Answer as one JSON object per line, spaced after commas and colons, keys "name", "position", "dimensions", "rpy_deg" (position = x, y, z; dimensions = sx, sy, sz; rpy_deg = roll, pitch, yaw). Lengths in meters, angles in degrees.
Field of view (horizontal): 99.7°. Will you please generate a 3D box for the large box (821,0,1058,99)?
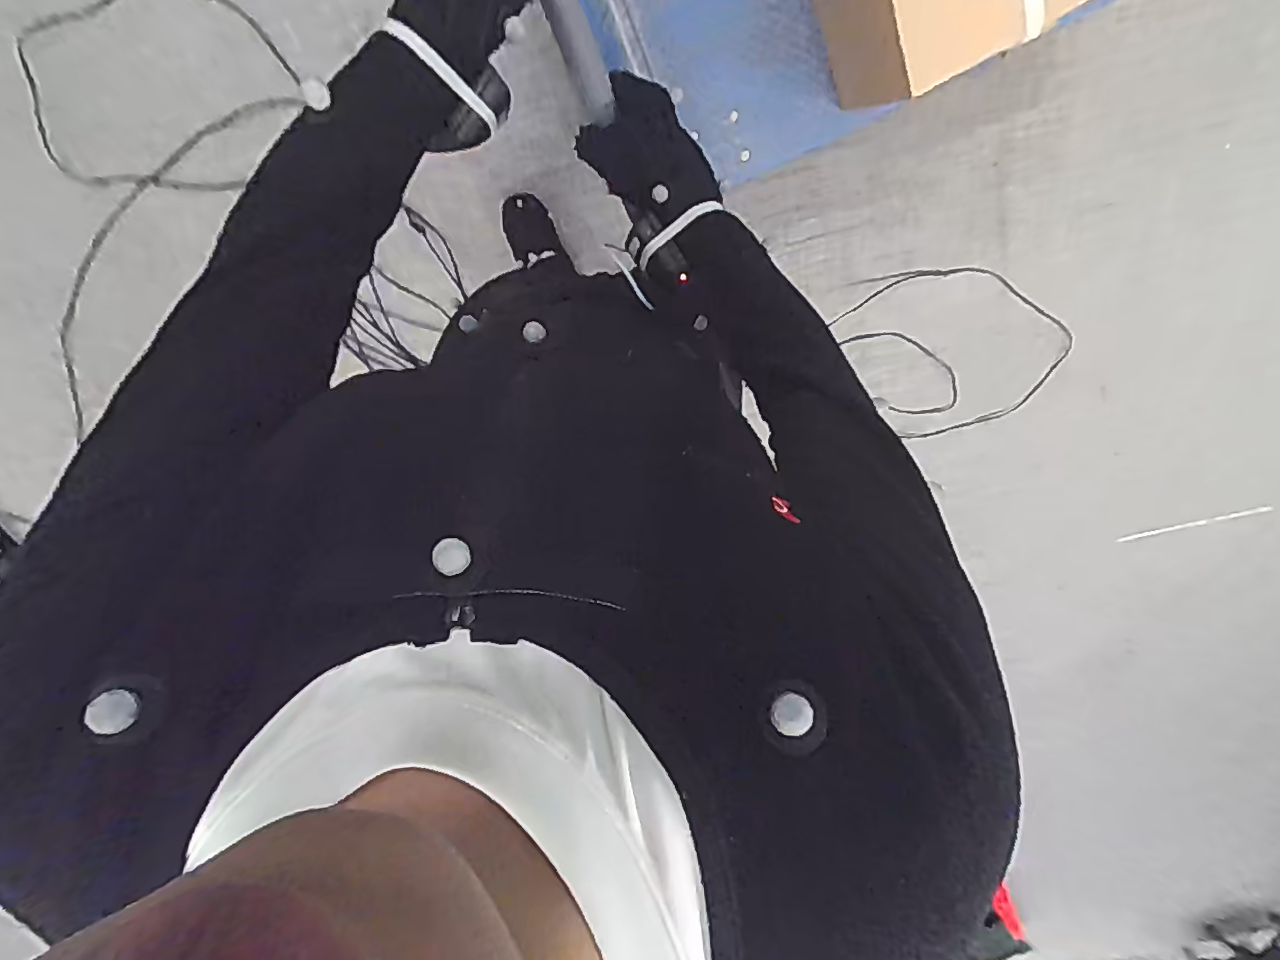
{"name": "large box", "position": [0.424, -0.838, 0.755], "dimensions": [0.320, 0.320, 0.408], "rpy_deg": [-25, 118, 15]}
